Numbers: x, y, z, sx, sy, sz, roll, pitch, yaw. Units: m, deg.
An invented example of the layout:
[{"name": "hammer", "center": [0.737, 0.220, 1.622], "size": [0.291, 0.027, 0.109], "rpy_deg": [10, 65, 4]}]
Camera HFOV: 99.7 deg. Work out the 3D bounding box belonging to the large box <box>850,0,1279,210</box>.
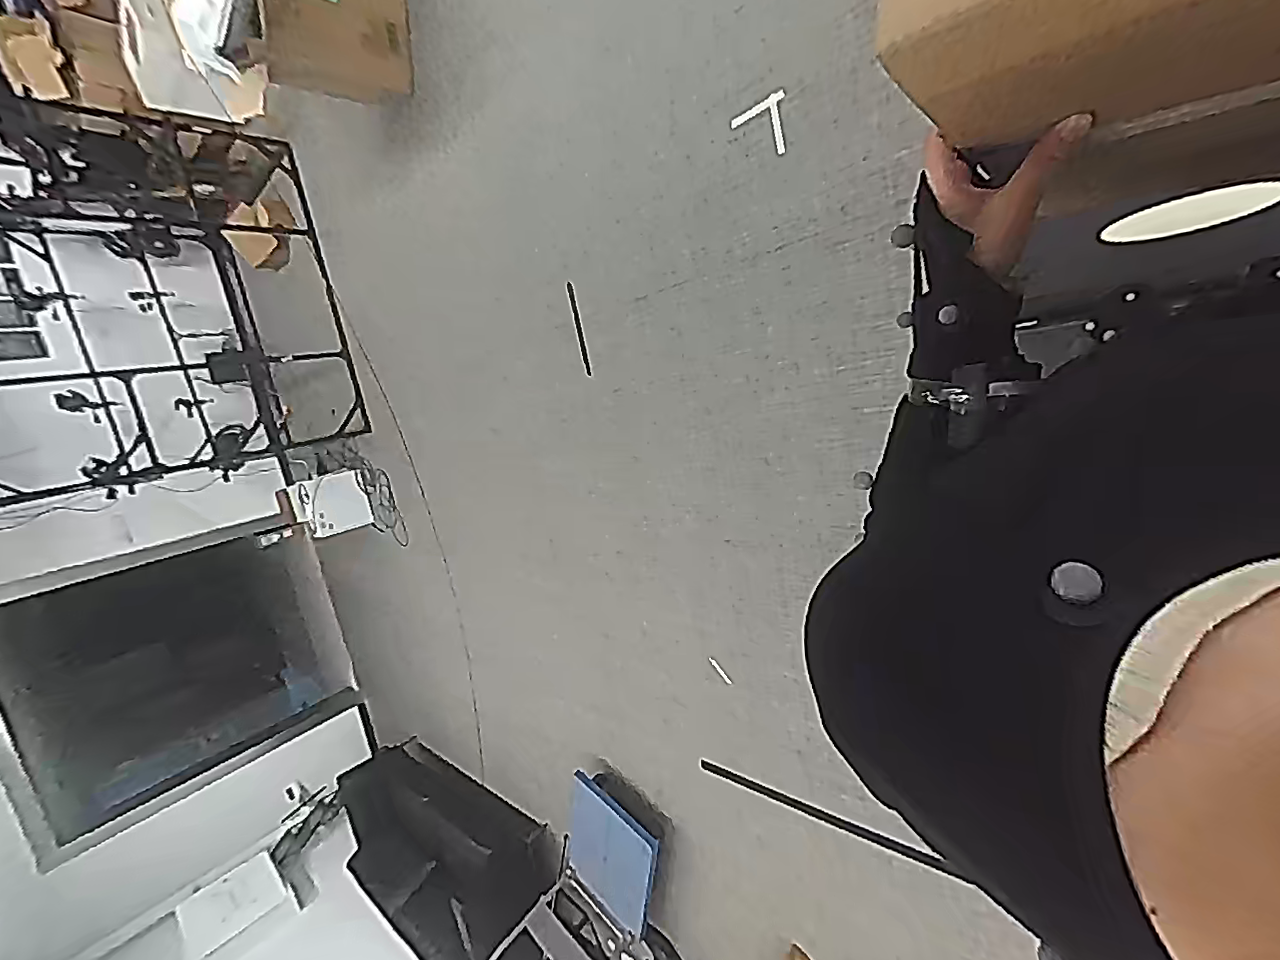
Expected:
[{"name": "large box", "center": [0.347, -0.348, 0.203], "size": [0.408, 0.320, 0.320], "rpy_deg": [10, 104, 48]}]
